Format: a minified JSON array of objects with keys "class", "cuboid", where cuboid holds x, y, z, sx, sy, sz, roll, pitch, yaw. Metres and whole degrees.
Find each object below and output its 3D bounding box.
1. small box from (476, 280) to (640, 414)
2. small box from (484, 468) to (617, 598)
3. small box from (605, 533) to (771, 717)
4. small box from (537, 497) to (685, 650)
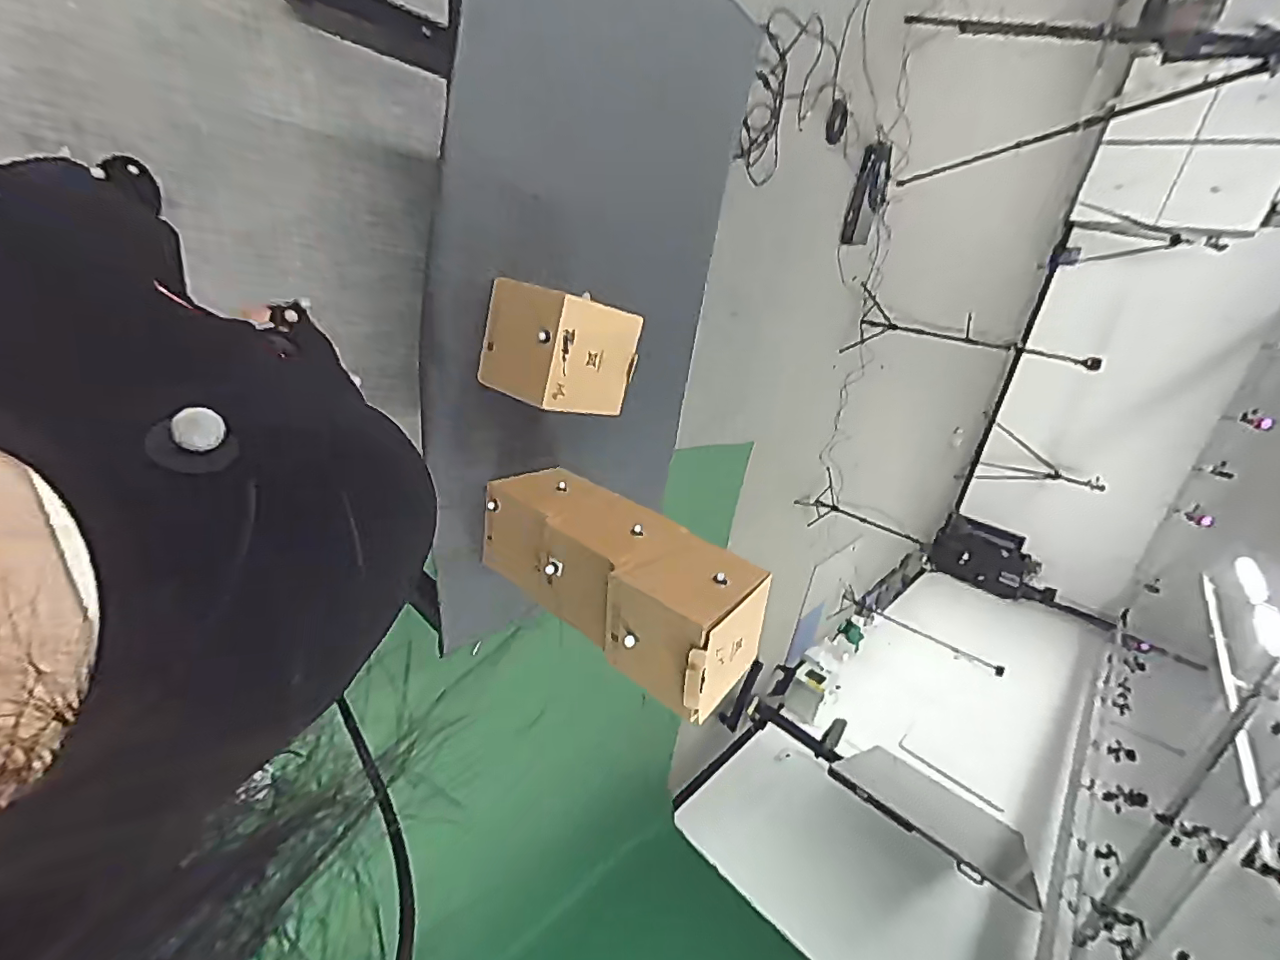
[{"class":"small box","cuboid":[-0.133,-0.213,0.872,0.179,0.176,0.168,-4,113,-52]},{"class":"small box","cuboid":[-0.168,0.089,1.000,0.179,0.176,0.168,-16,121,-49]},{"class":"small box","cuboid":[0.069,0.200,0.803,0.179,0.176,0.168,-23,125,-44]},{"class":"small box","cuboid":[-0.050,0.143,0.904,0.179,0.176,0.168,-19,122,-45]}]
